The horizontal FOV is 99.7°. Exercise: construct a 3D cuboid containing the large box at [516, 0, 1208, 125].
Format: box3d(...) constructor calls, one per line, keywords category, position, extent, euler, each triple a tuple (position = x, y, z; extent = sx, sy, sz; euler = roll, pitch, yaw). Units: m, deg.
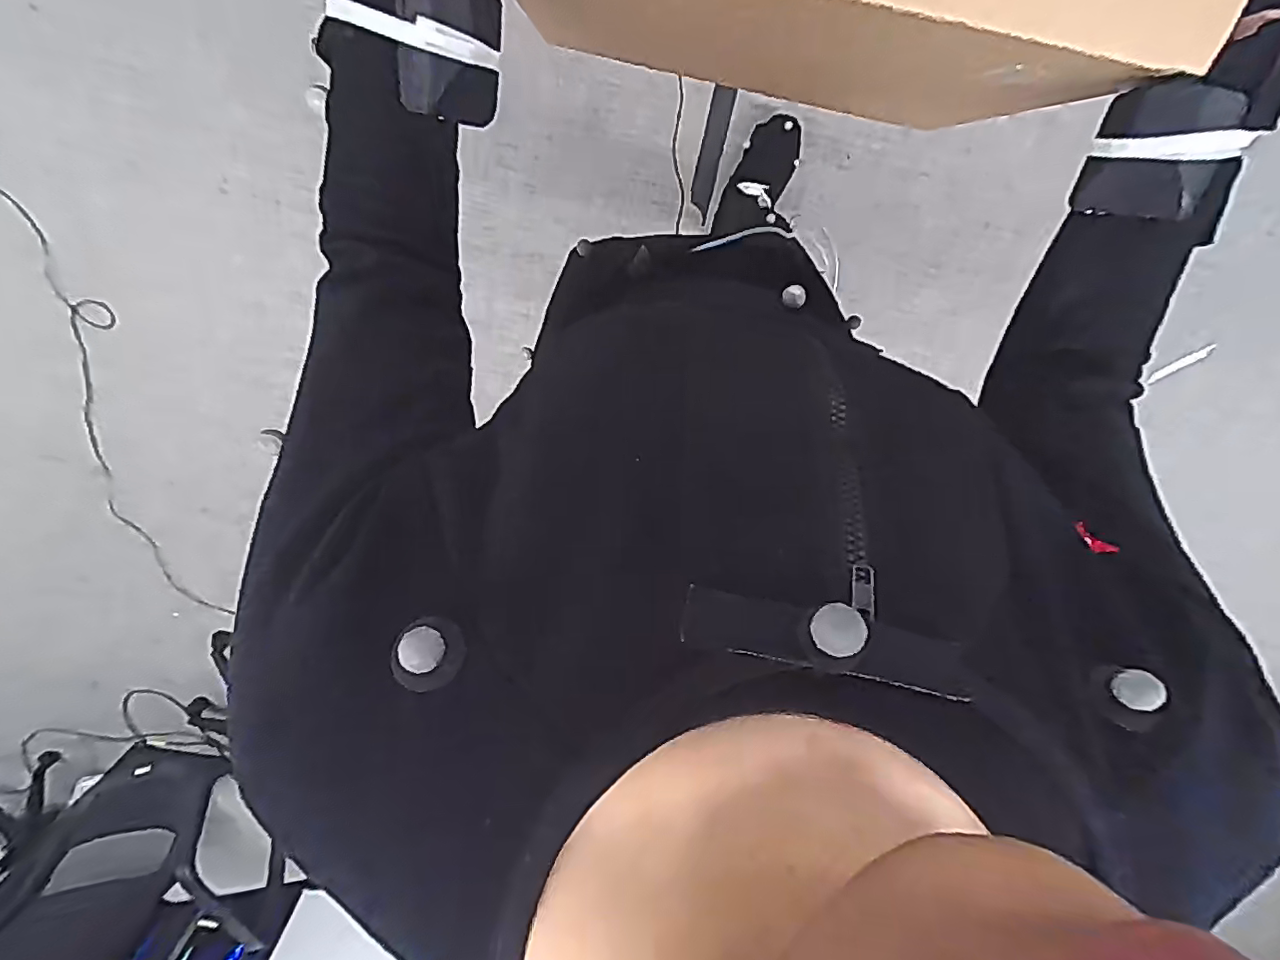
box3d(category="large box", position=(0.123, -0.456, 0.344), extent=(0.408, 0.320, 0.320), euler=(9, 119, -5))
